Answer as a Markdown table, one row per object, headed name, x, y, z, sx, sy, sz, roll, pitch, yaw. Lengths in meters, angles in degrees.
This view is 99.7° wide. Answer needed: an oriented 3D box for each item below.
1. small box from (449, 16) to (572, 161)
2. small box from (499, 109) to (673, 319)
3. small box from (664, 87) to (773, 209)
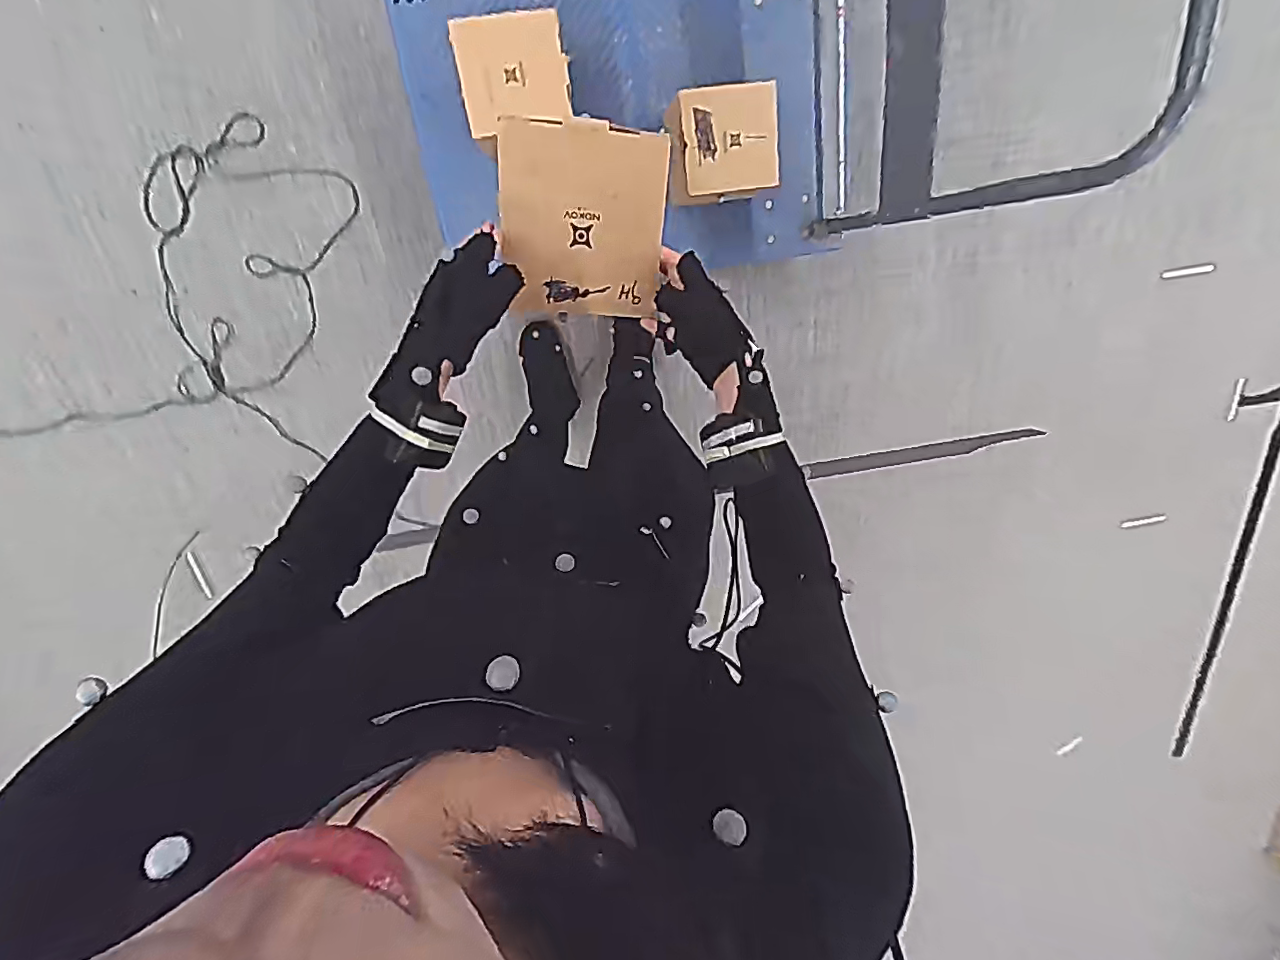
| name | x | y | z | sx | sy | sz | roll | pitch | yaw |
| --- | --- | --- | --- | --- | --- | --- | --- | --- | --- |
| small box | -0.222 | -0.690 | 0.970 | 0.179 | 0.176 | 0.168 | -10 | 111 | -3 |
| small box | -0.067 | -0.294 | 0.611 | 0.168 | 0.176 | 0.179 | 3 | 118 | -8 |
| small box | 0.144 | -0.629 | 1.042 | 0.179 | 0.176 | 0.168 | -9 | 111 | -5 |
